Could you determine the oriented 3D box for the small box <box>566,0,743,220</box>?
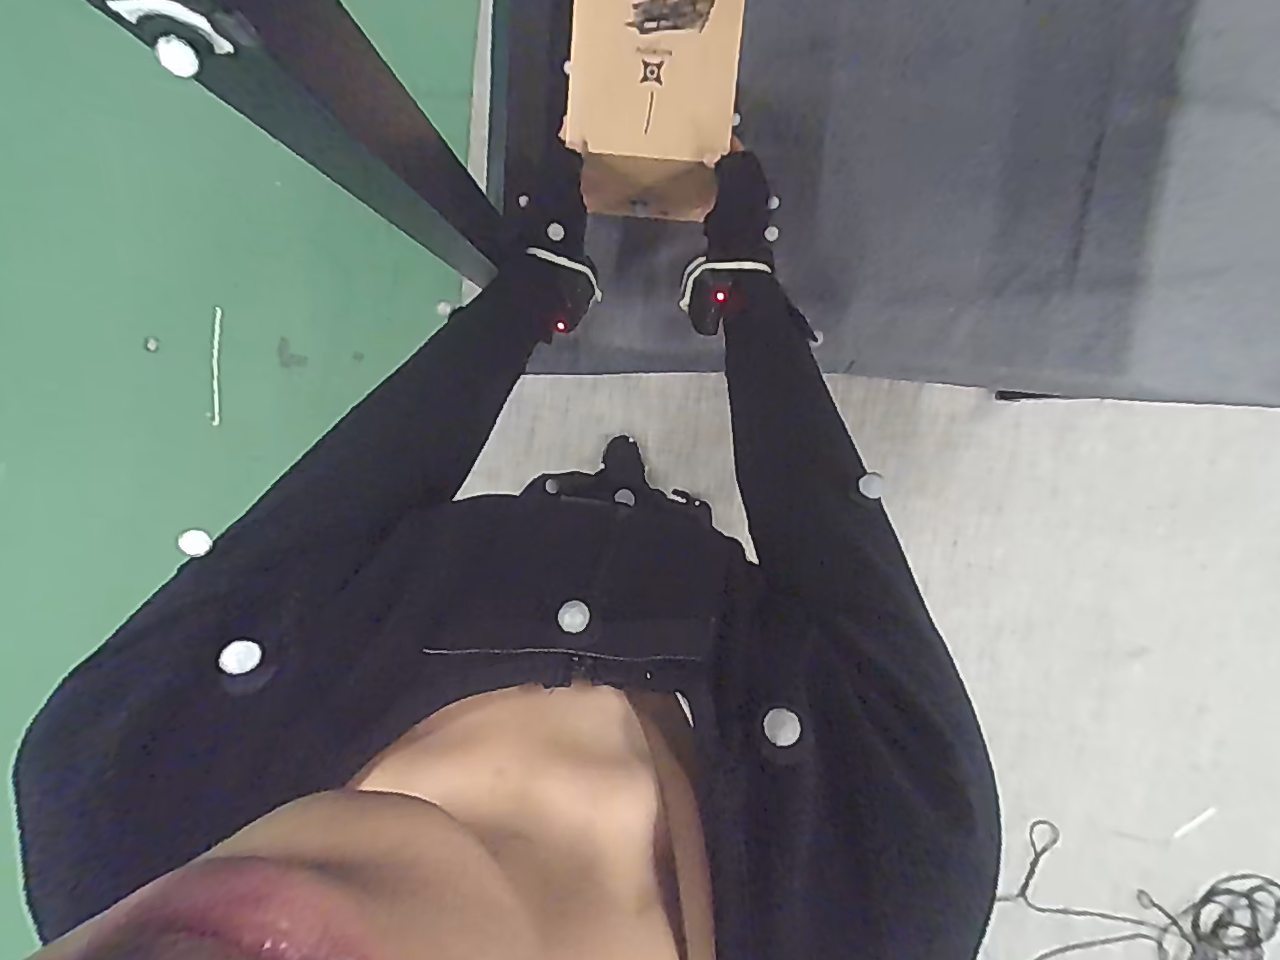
[{"bbox_3d":[0.014,-0.421,0.612,0.168,0.176,0.179,5,97,0],"label":"small box"}]
